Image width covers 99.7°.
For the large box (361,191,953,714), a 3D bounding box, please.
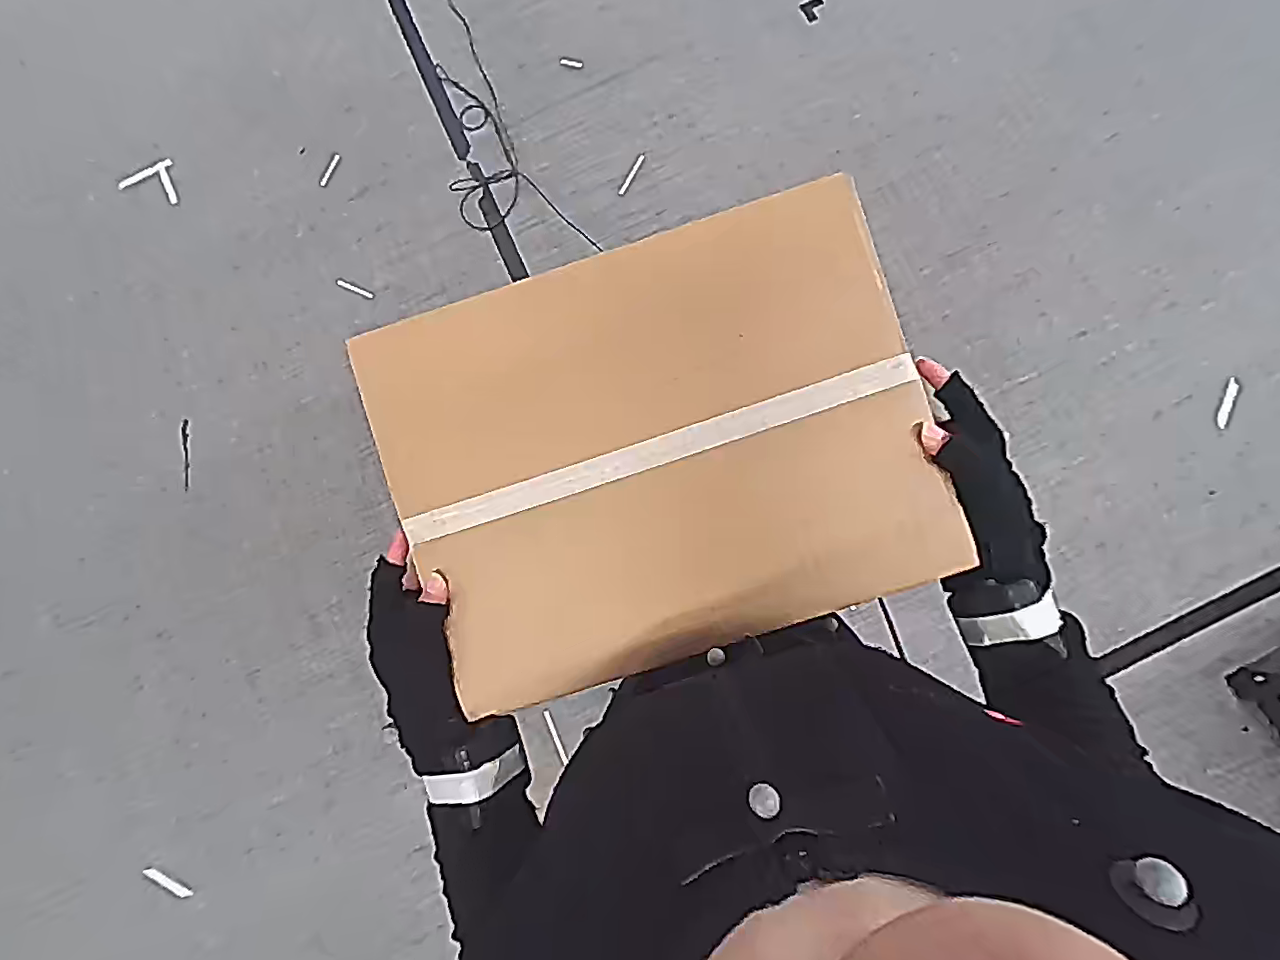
[{"bbox_3d":[0.016,-0.021,0.571,0.408,0.320,0.320,-18,89,2],"label":"large box"}]
